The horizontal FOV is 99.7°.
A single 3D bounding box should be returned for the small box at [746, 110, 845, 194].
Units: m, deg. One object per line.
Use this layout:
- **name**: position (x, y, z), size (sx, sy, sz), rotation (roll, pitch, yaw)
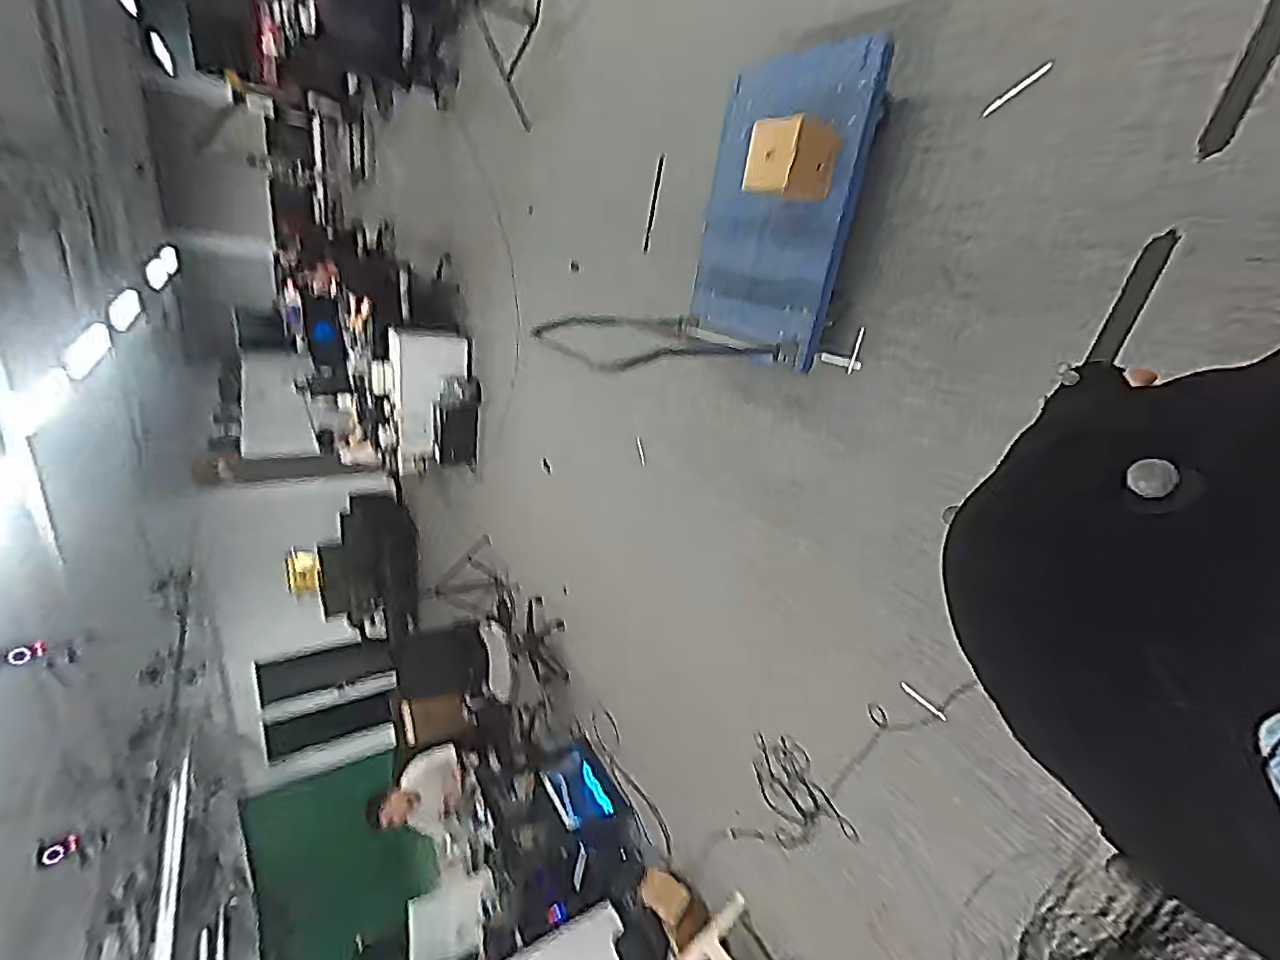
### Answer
- **small box**: position (0.430, -0.902, 1.504), size (0.179, 0.176, 0.168), rotation (36, 124, 48)
